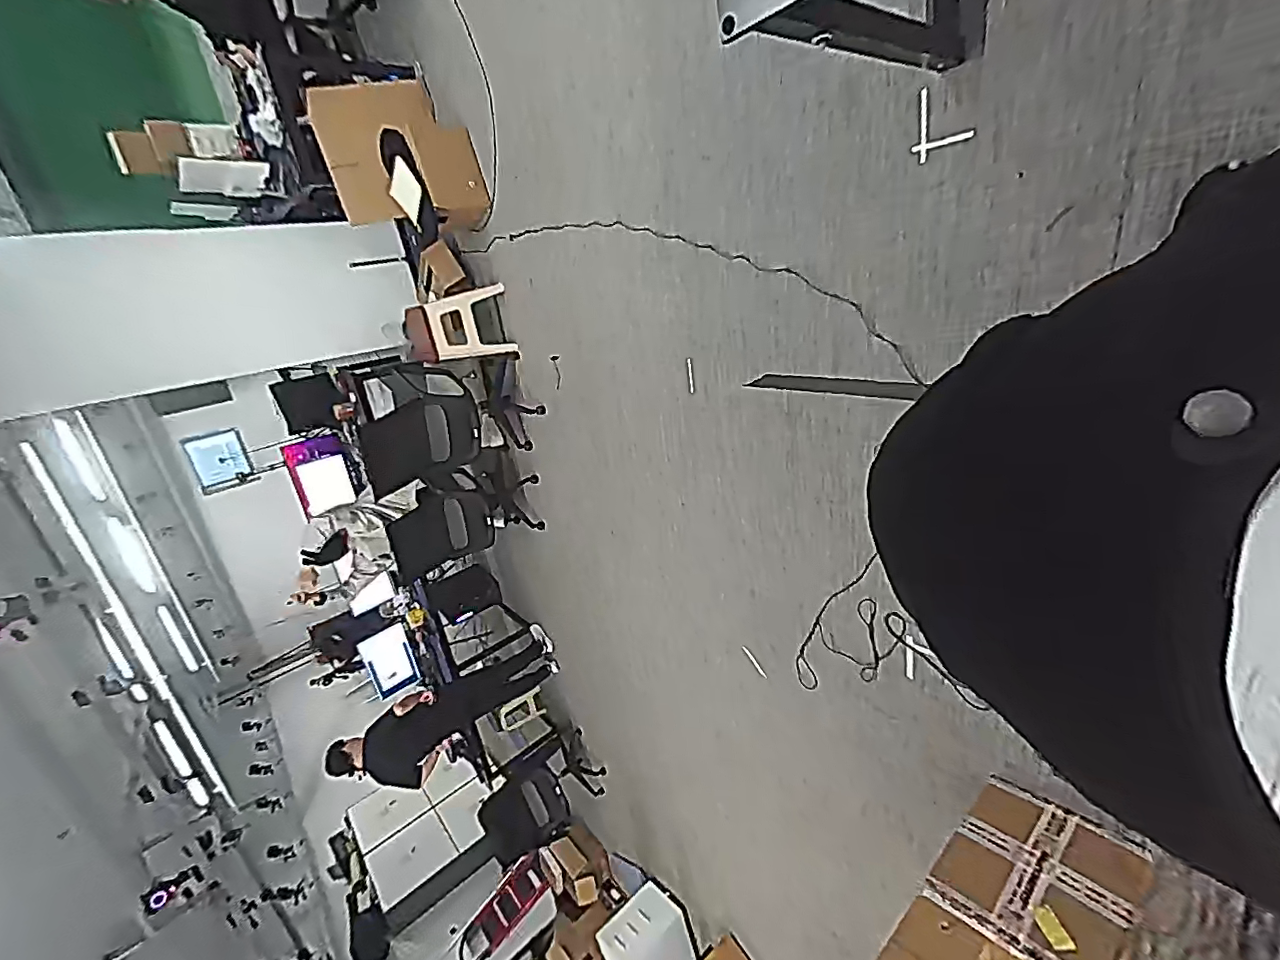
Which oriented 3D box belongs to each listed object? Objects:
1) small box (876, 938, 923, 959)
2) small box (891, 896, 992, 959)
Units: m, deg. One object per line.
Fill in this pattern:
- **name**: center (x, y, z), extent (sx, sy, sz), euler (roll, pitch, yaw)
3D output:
- **small box**: center (0.649, 1.270, 1.294), extent (0.179, 0.176, 0.168), euler (6, 110, 52)
- **small box**: center (0.776, 1.229, 1.392), extent (0.179, 0.176, 0.168), euler (6, 110, 53)
